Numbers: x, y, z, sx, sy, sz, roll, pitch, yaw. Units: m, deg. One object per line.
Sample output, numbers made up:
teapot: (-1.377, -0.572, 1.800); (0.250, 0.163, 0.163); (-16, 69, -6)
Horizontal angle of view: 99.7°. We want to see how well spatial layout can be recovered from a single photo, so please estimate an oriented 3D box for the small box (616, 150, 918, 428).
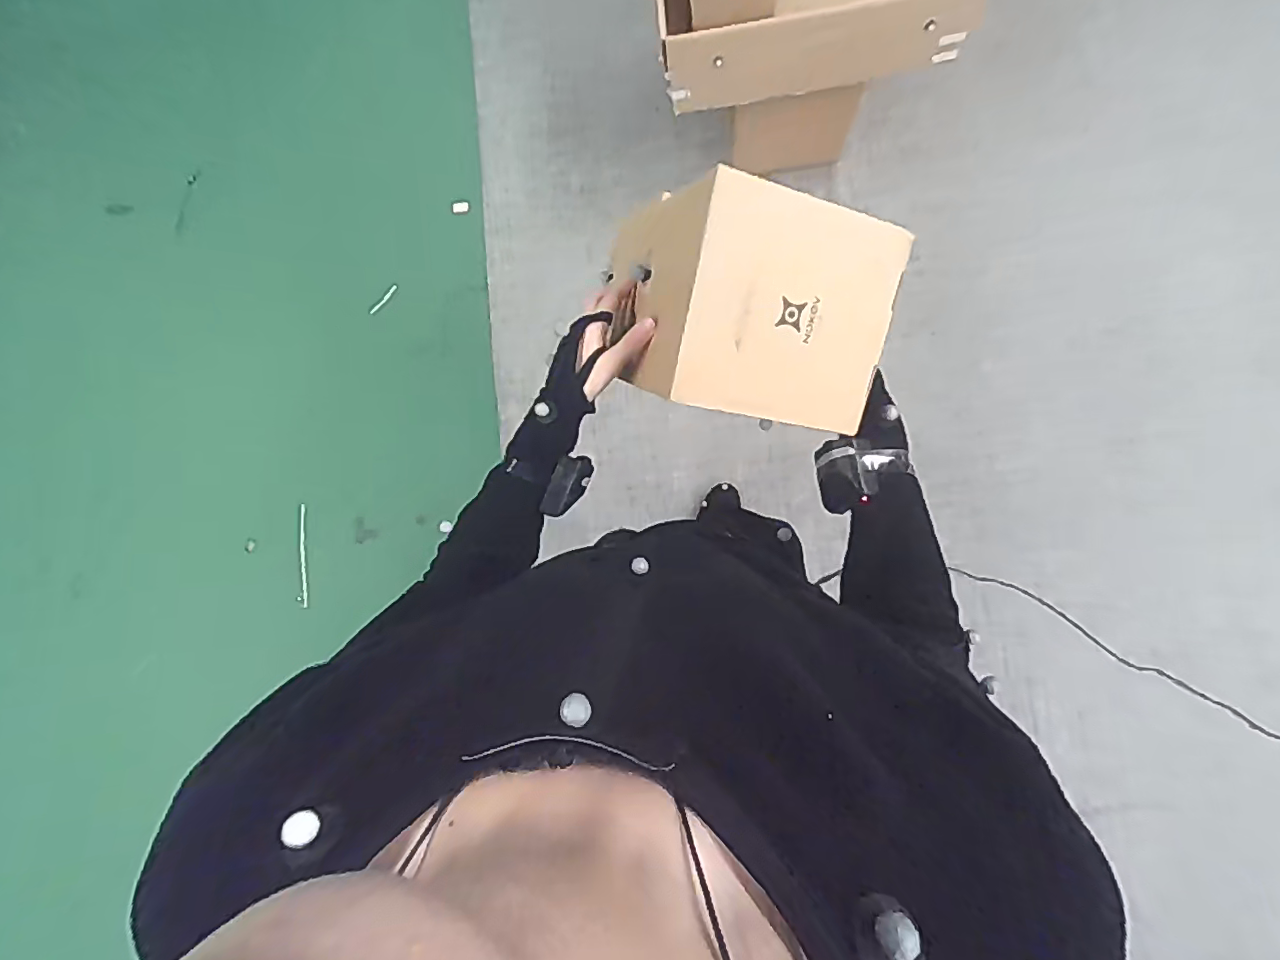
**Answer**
small box: (0.093, -0.153, 0.475); (0.179, 0.176, 0.168); (8, 103, -18)
